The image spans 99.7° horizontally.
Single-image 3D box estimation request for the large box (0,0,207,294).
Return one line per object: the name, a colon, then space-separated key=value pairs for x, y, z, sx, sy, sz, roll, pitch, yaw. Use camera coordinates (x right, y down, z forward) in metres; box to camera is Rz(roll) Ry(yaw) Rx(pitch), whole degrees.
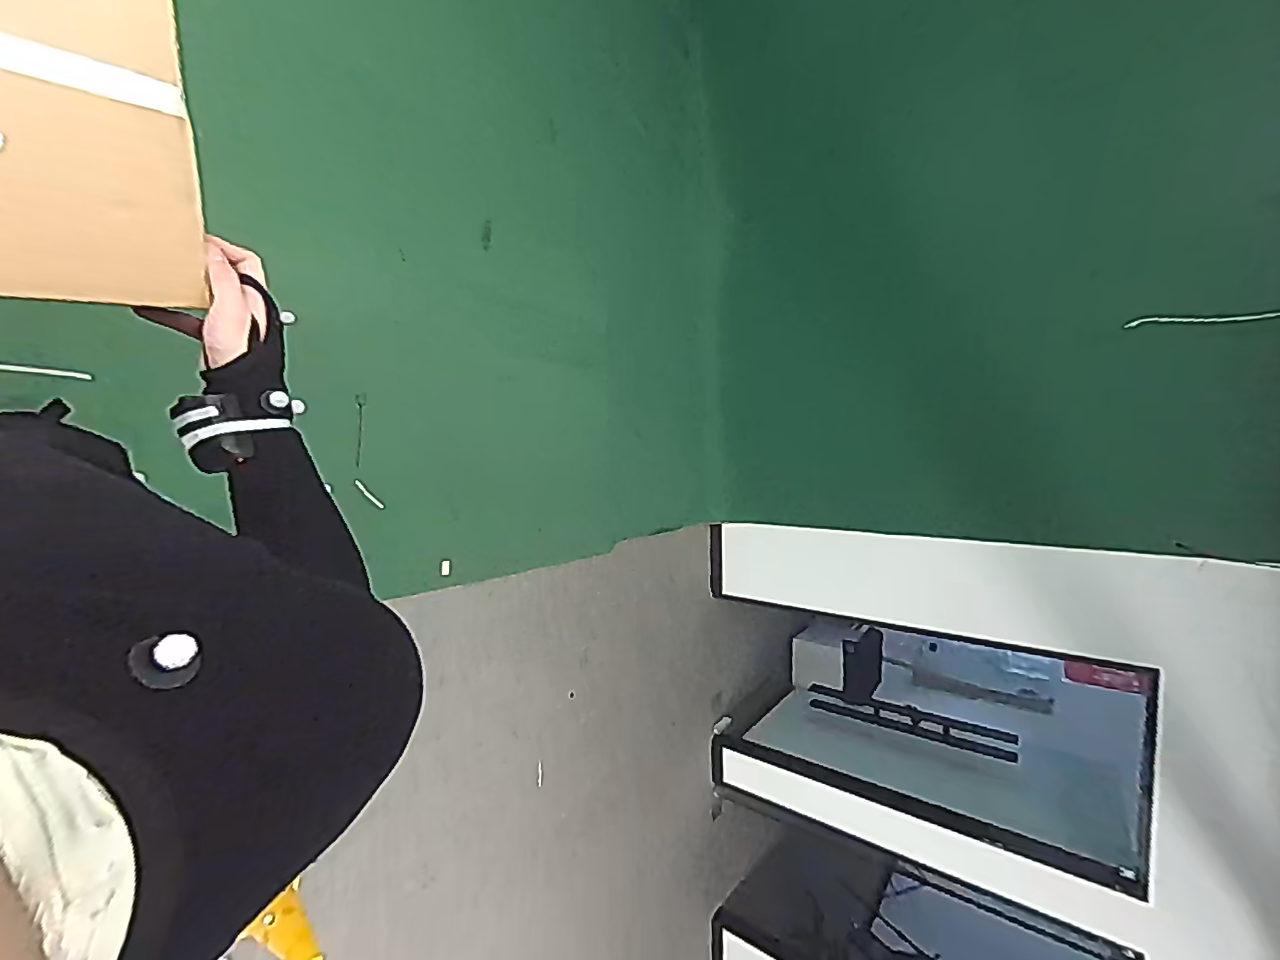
large box: x=-0.613 y=-0.308 z=0.374 sx=0.408 sy=0.320 sz=0.320 roll=-15 pitch=116 yaw=-49
